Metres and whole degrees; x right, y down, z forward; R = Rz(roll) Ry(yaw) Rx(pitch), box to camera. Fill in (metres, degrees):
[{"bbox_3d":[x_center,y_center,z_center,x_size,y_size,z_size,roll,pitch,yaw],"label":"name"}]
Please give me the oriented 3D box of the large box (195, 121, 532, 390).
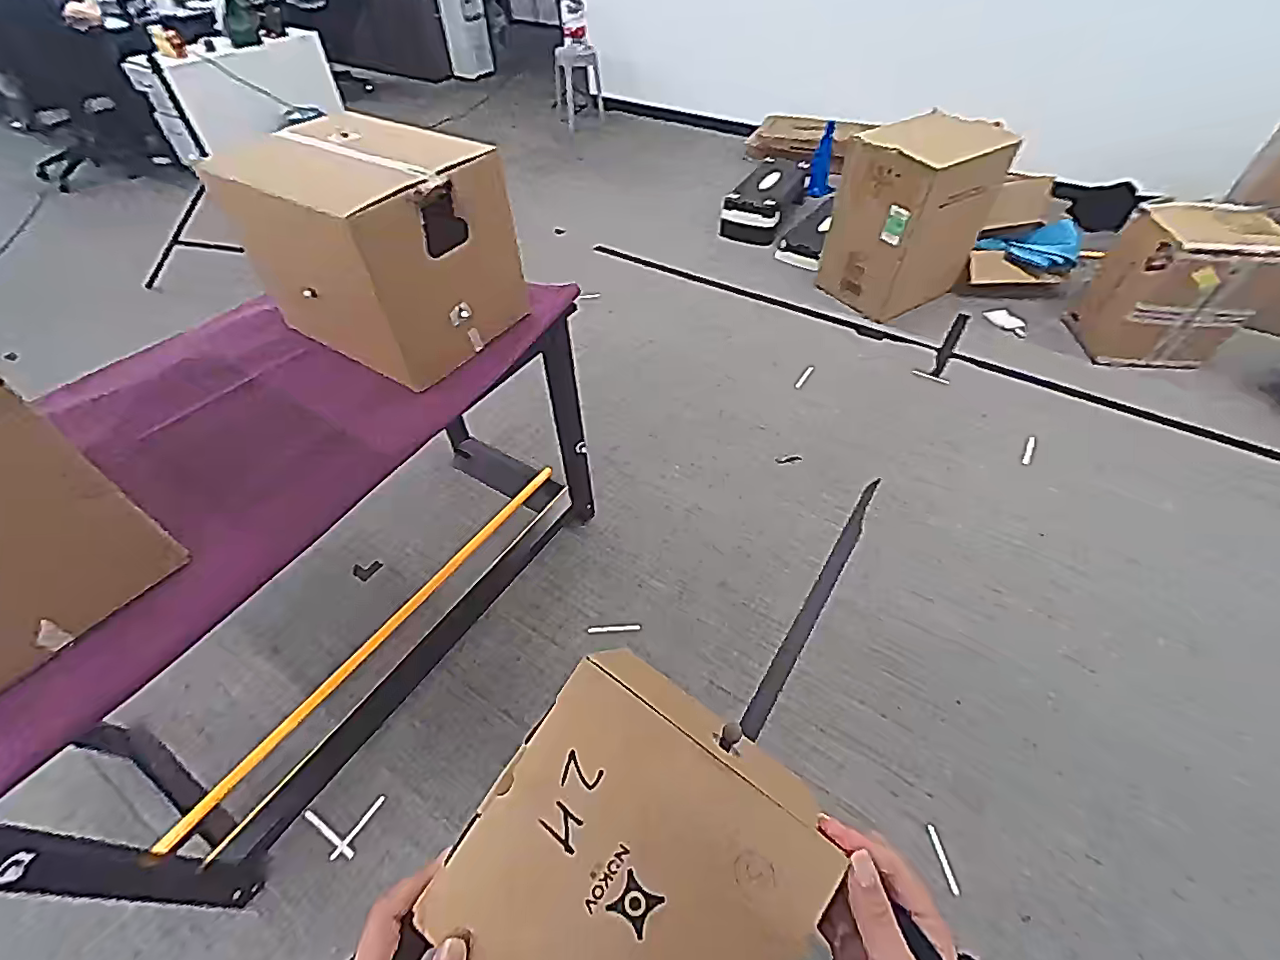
[{"bbox_3d":[-0.470,-0.420,0.997,0.408,0.320,0.320,25,53,23],"label":"large box"}]
